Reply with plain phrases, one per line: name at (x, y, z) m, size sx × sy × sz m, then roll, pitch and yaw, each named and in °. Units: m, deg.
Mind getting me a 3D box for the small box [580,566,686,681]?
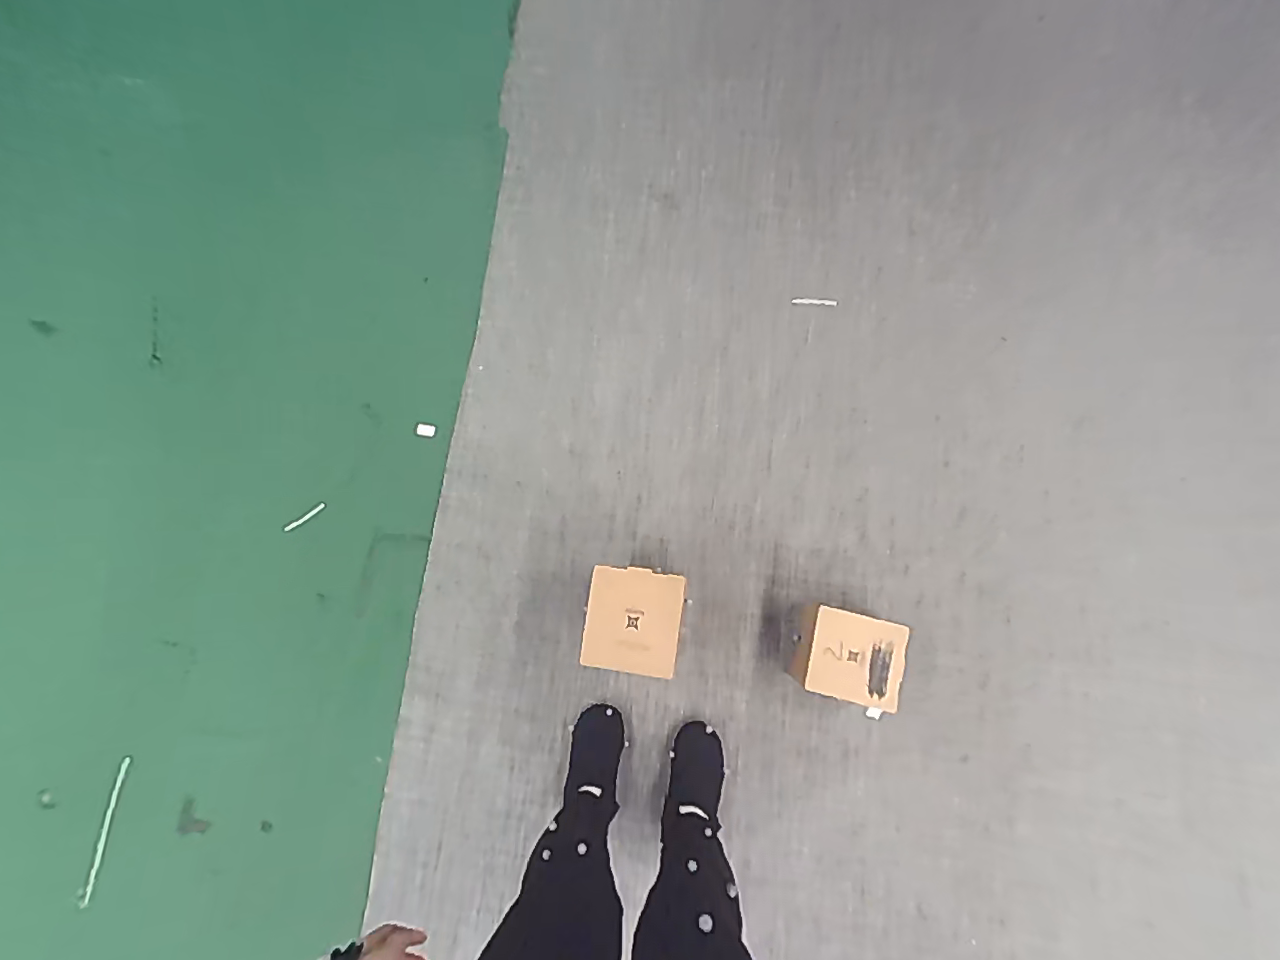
small box at (-0.004, 0.261, 1.014) m, size 0.168 × 0.176 × 0.179 m, roll 6°, pitch 81°, yaw 8°
